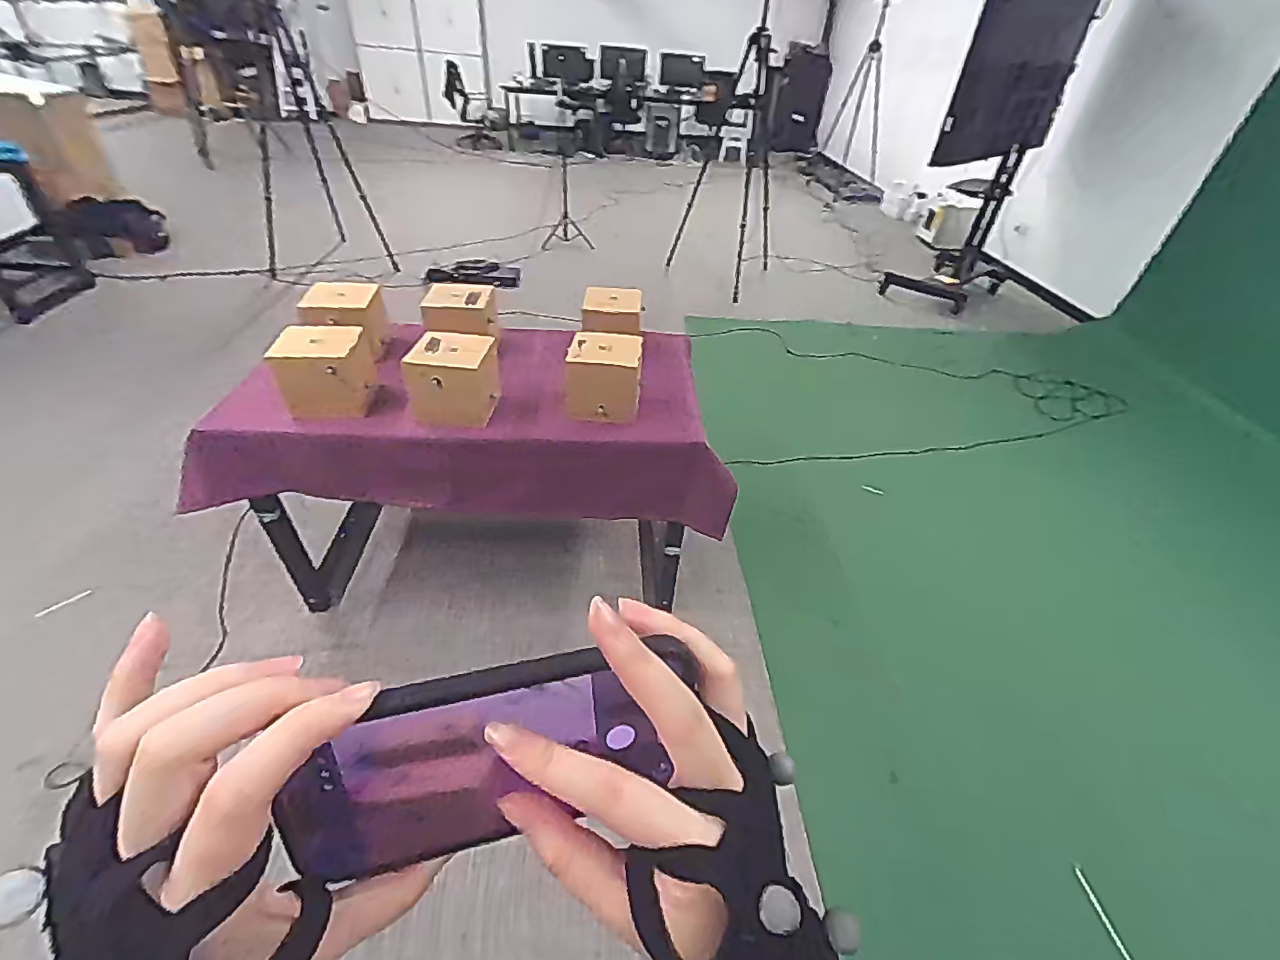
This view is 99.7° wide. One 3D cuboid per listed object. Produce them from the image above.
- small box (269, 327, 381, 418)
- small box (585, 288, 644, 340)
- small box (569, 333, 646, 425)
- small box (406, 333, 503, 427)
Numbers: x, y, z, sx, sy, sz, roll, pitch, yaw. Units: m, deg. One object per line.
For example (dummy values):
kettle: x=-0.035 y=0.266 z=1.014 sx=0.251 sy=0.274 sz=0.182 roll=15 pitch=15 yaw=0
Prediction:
small box: x=-0.764 y=-0.265 z=1.334 sx=0.179 sy=0.176 sz=0.168 roll=-1 pitch=40 yaw=-9
small box: x=-0.078 y=-0.461 z=1.636 sx=0.168 sy=0.176 sz=0.179 roll=4 pitch=41 yaw=-1
small box: x=-0.084 y=-0.258 z=1.396 sx=0.179 sy=0.176 sz=0.168 roll=6 pitch=40 yaw=1
small box: x=-0.451 y=-0.247 z=1.344 sx=0.179 sy=0.176 sz=0.168 roll=6 pitch=40 yaw=0
